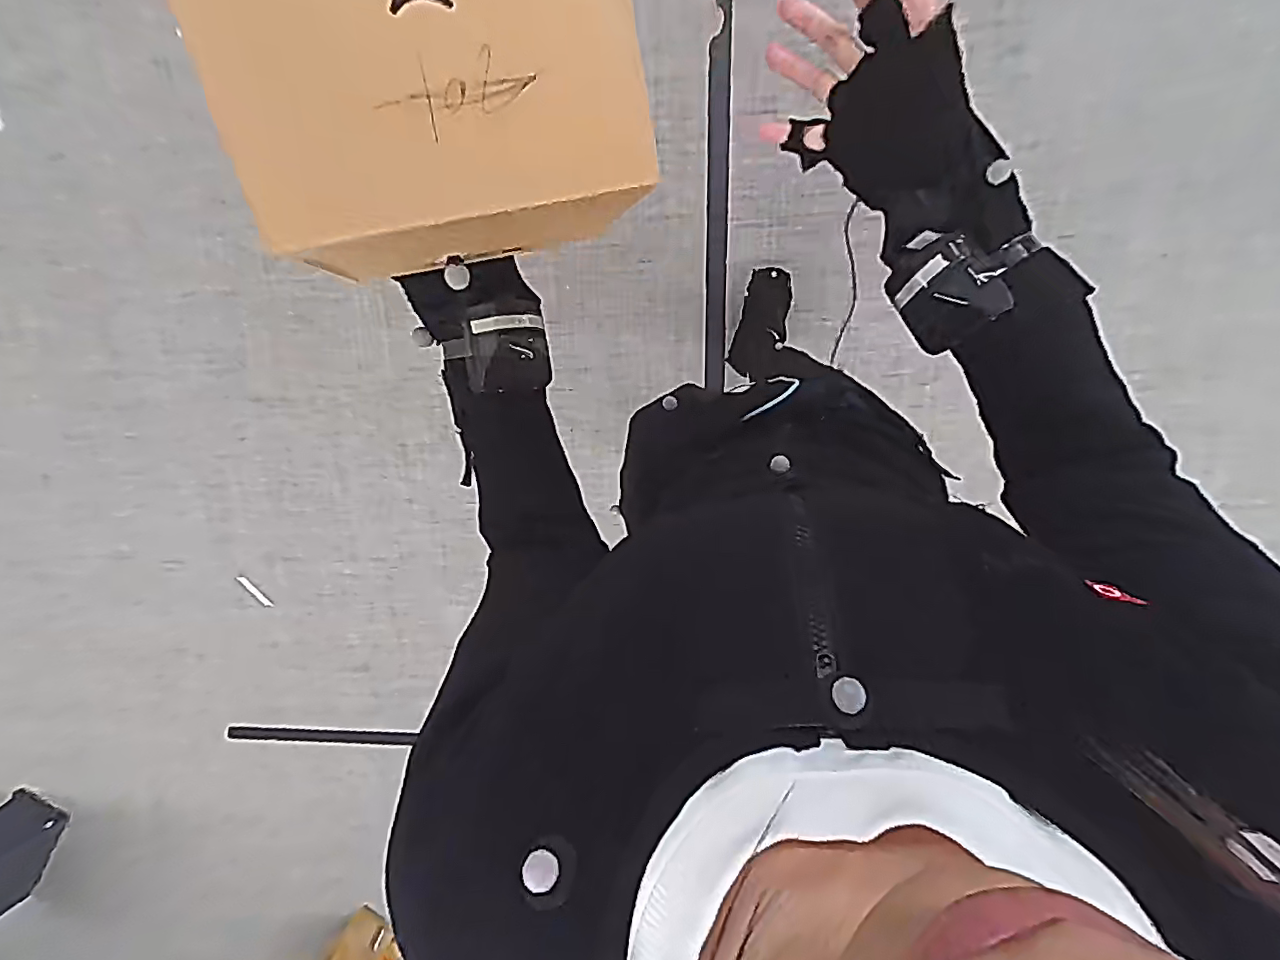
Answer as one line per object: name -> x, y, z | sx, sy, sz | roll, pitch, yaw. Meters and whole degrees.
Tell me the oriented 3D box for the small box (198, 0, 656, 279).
small box -> -0.106, -0.217, 0.285 | 0.168, 0.176, 0.179 | -16, 109, -11
